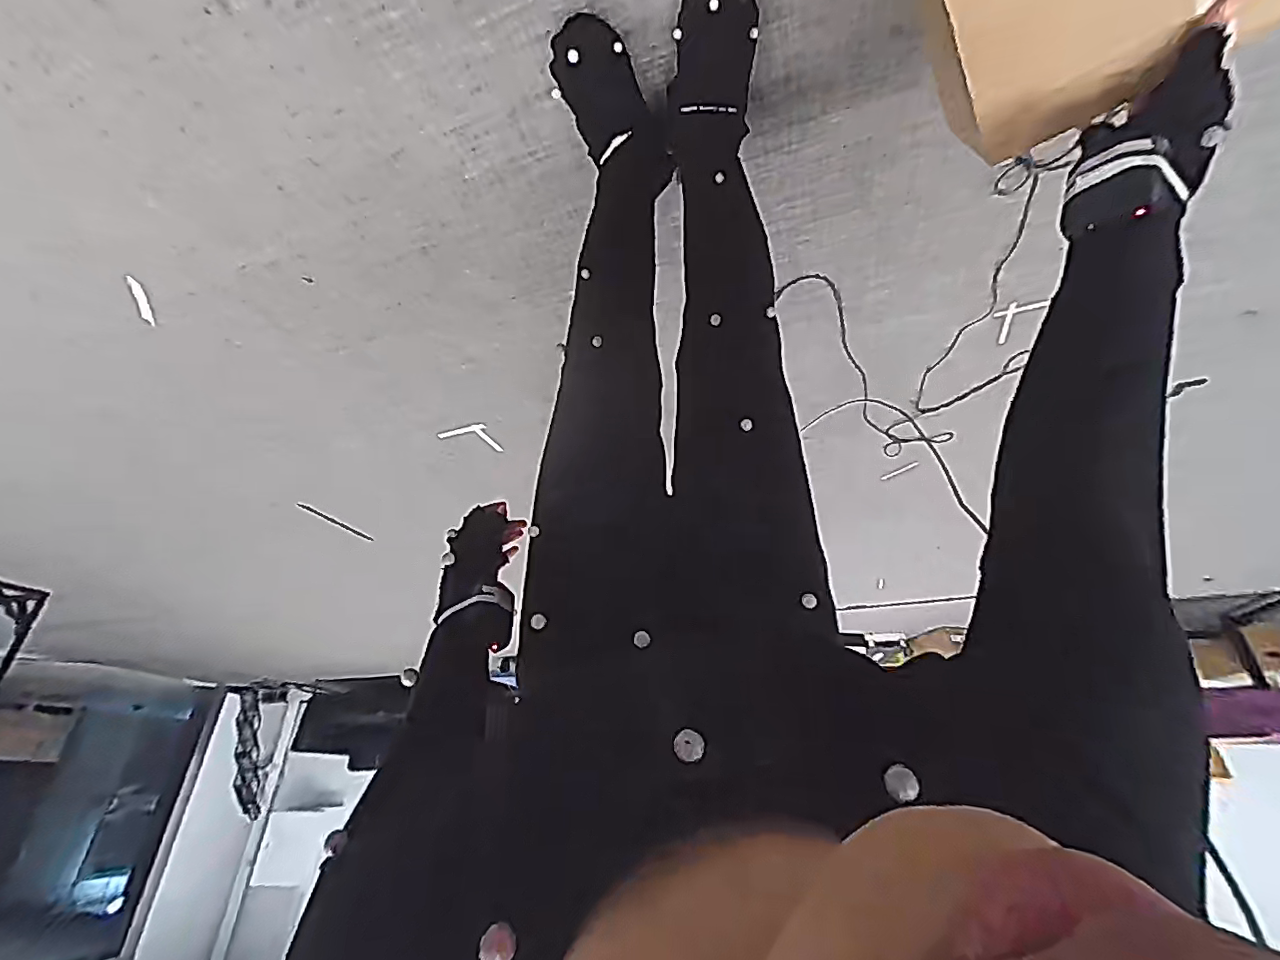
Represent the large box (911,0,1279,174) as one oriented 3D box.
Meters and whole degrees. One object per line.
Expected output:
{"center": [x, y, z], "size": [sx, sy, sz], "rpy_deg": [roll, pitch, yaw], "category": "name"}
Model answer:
{"center": [0.418, -0.579, 0.491], "size": [0.320, 0.320, 0.408], "rpy_deg": [-17, 119, 32], "category": "large box"}
